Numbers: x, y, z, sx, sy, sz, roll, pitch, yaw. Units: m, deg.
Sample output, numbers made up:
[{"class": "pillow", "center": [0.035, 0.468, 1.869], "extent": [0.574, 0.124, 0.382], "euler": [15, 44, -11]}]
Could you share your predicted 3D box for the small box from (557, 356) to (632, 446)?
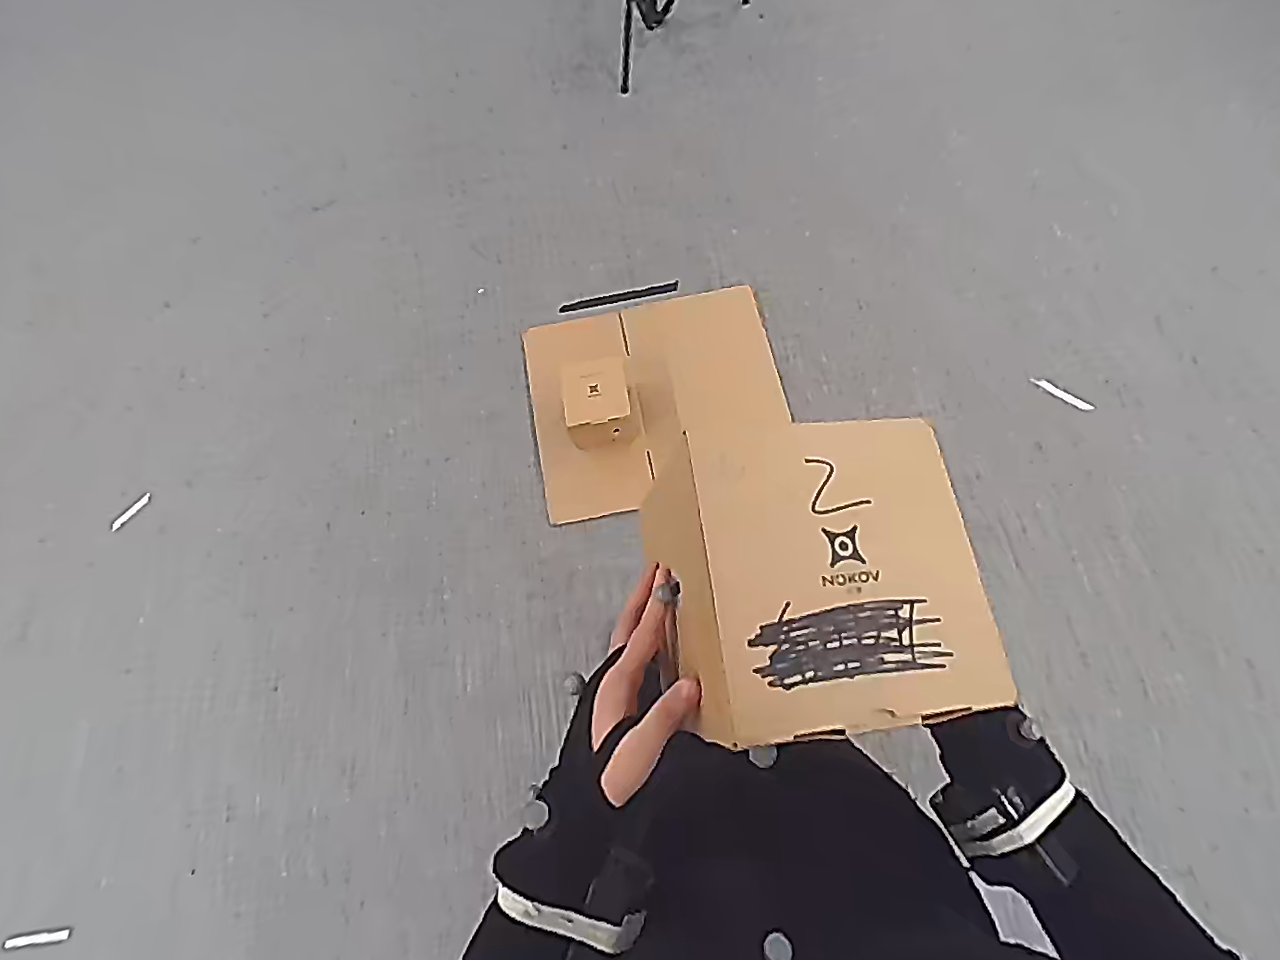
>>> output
[{"class": "small box", "center": [-0.117, -0.200, 1.436], "extent": [0.168, 0.176, 0.179], "euler": [-10, 73, -1]}]
